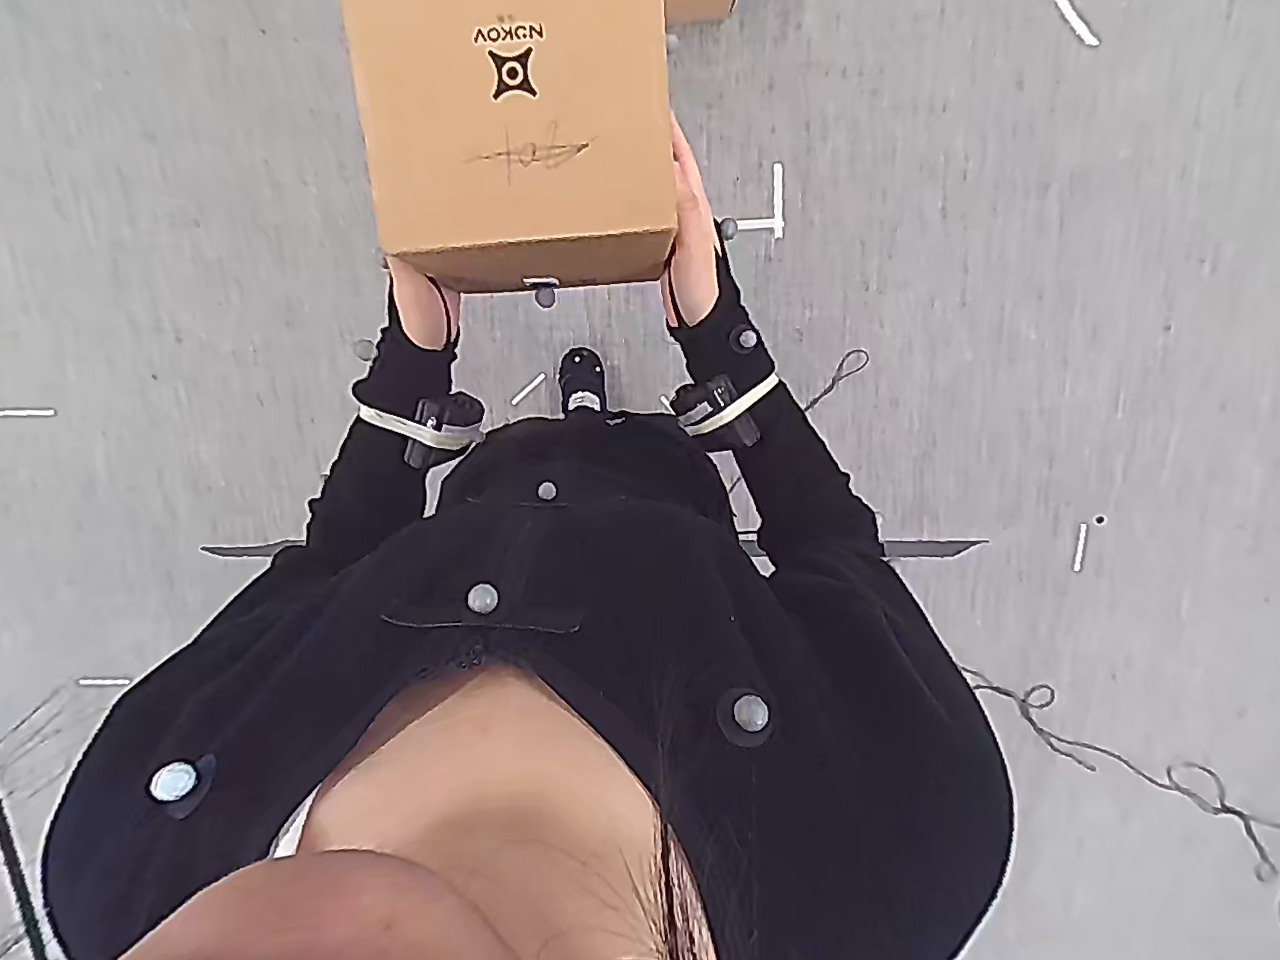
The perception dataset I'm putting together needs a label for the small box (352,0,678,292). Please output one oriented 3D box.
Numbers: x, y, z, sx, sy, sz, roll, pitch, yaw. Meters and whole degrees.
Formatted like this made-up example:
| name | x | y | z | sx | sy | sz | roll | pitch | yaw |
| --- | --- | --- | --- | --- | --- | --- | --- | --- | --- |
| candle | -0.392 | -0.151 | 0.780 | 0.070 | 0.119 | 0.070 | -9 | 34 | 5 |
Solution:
| name | x | y | z | sx | sy | sz | roll | pitch | yaw |
| --- | --- | --- | --- | --- | --- | --- | --- | --- | --- |
| small box | -0.068 | -0.235 | 0.364 | 0.168 | 0.176 | 0.179 | -5 | 101 | -1 |
